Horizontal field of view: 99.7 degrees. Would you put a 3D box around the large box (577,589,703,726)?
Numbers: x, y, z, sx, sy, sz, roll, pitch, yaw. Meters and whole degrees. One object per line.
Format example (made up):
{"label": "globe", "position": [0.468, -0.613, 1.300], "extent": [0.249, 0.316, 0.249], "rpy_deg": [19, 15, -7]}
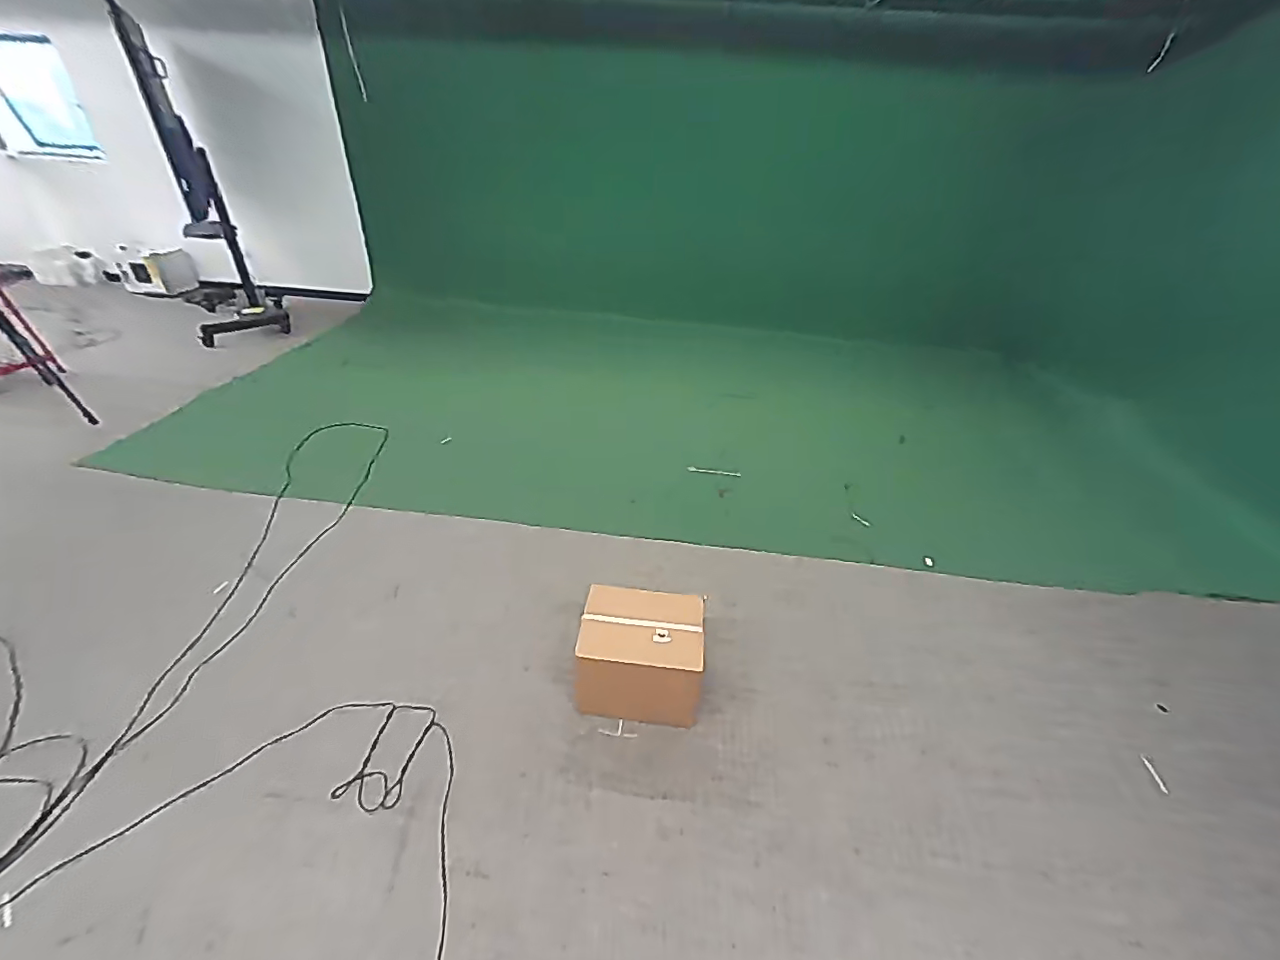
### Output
{"label": "large box", "position": [0.000, 0.613, 1.879], "extent": [0.408, 0.320, 0.320], "rpy_deg": [5, 34, 3]}
